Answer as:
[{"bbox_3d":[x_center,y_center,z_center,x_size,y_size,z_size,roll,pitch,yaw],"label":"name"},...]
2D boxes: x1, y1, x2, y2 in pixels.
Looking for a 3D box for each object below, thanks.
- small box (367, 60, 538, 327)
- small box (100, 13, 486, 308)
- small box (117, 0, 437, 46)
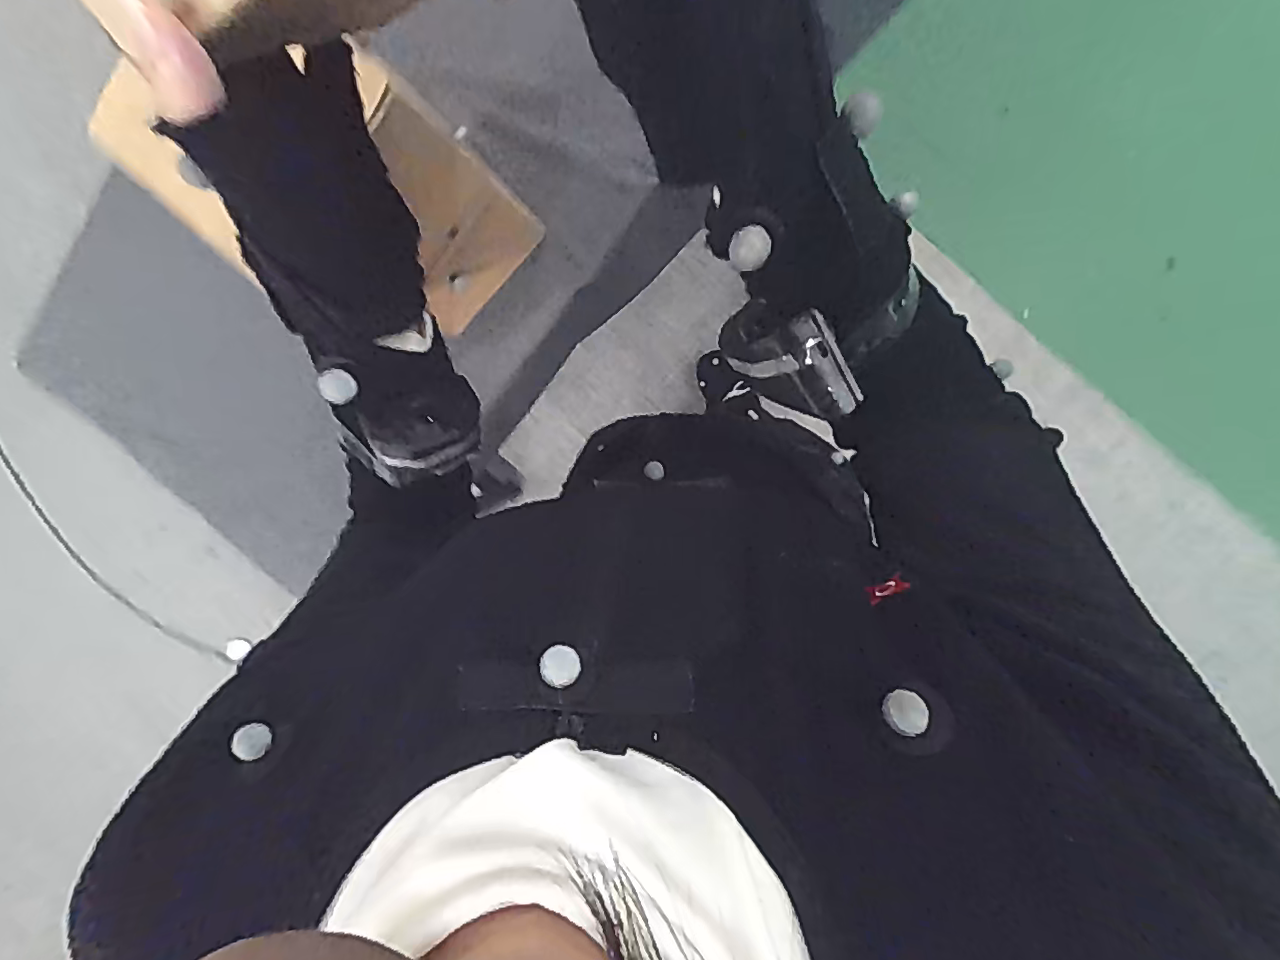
[{"bbox_3d":[-0.245,-0.297,0.610,0.168,0.176,0.179,43,102,2],"label":"small box"},{"bbox_3d":[-0.261,-0.261,0.448,0.179,0.176,0.168,37,103,1],"label":"small box"},{"bbox_3d":[-0.095,-0.262,0.144,0.168,0.176,0.179,-11,131,23],"label":"small box"}]
